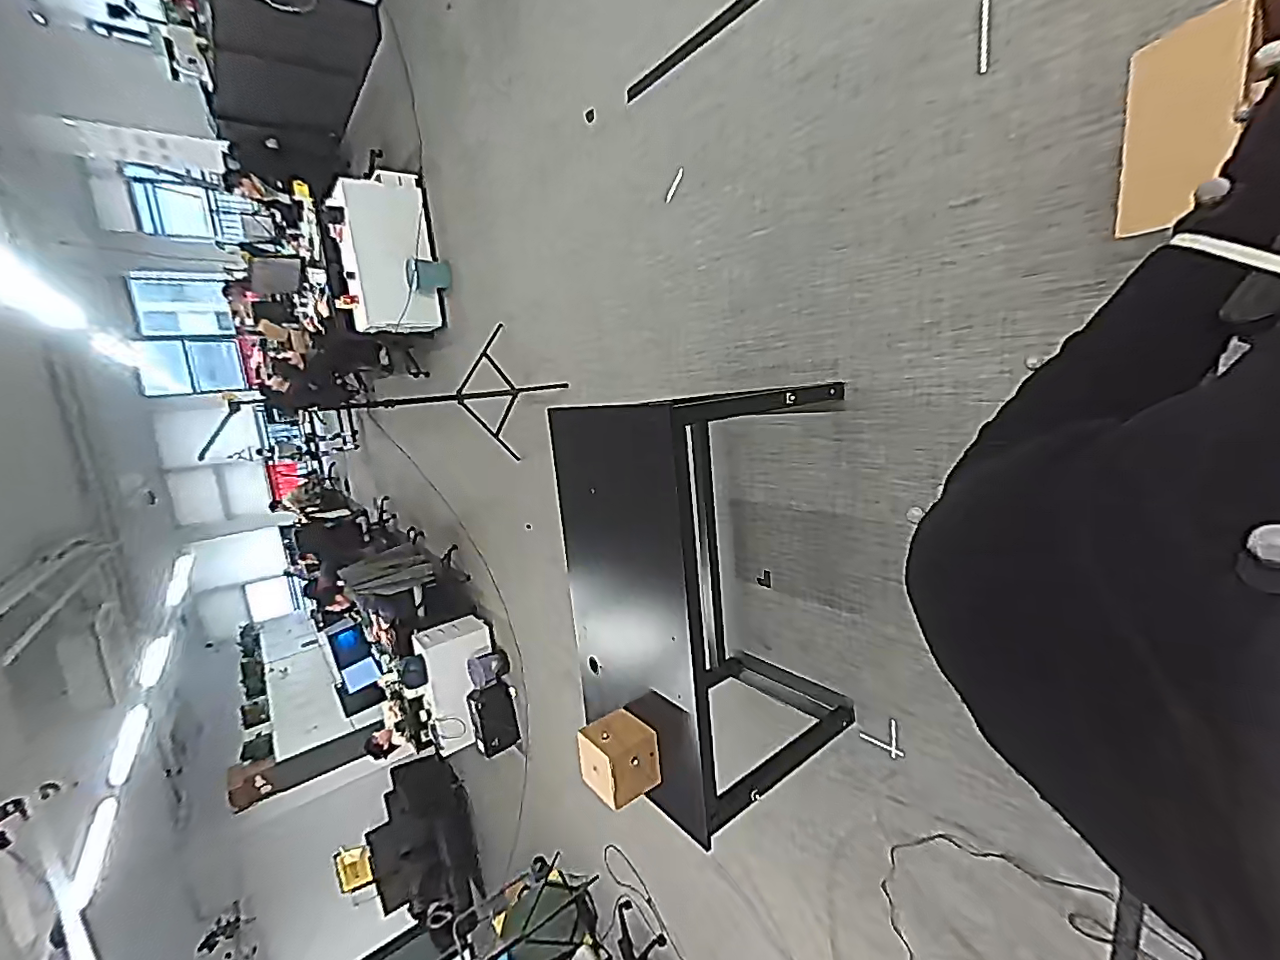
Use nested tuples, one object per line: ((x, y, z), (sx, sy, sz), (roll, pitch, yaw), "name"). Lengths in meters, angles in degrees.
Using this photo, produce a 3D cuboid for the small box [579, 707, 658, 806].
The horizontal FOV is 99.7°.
((-0.058, 0.799, 1.587), (0.179, 0.176, 0.168), (8, 106, 54), "small box")
